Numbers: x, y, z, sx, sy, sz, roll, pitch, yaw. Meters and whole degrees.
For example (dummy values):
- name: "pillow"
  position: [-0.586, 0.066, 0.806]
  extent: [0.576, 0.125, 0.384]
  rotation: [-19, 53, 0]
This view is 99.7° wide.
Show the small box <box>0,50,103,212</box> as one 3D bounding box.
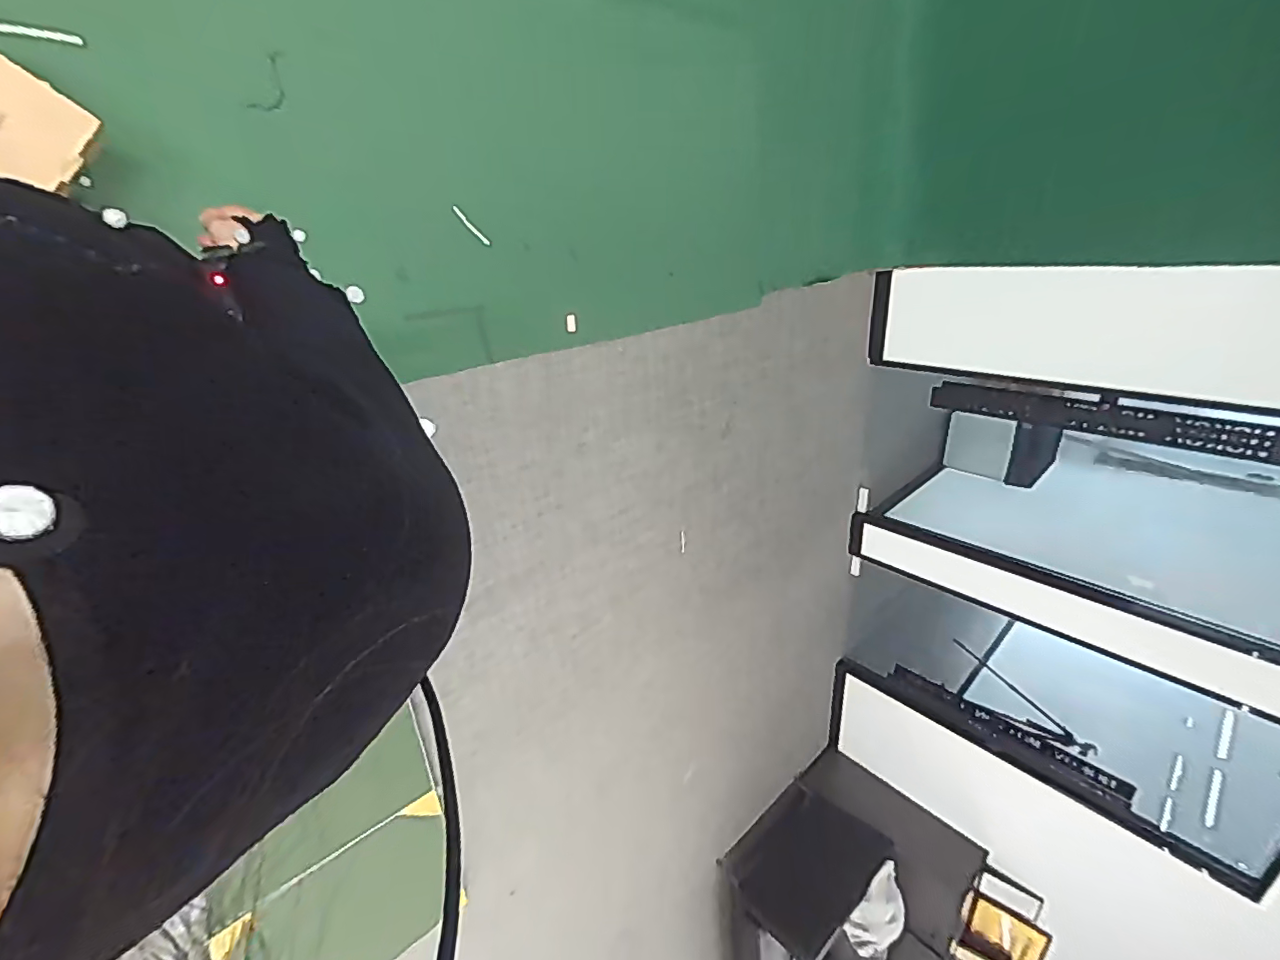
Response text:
- name: "small box"
  position: [-0.929, -0.515, 0.779]
  extent: [0.179, 0.176, 0.168]
  rotation: [34, 82, -46]
